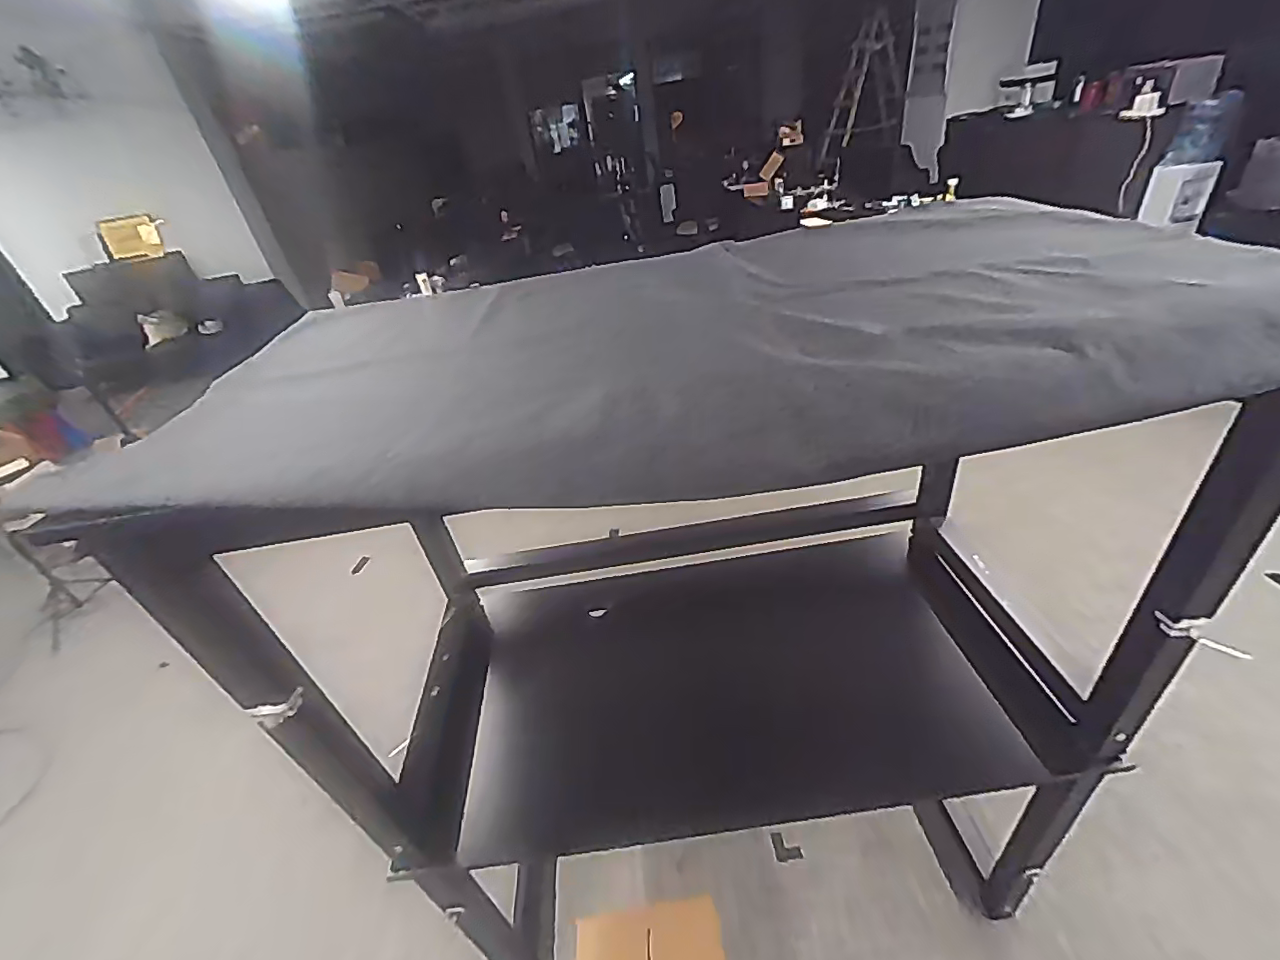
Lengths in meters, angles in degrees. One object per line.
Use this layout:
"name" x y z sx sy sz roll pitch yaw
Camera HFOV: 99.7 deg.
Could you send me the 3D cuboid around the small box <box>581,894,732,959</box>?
"small box" 0.031 0.600 0.579 0.168 0.176 0.179 -9 20 -1
